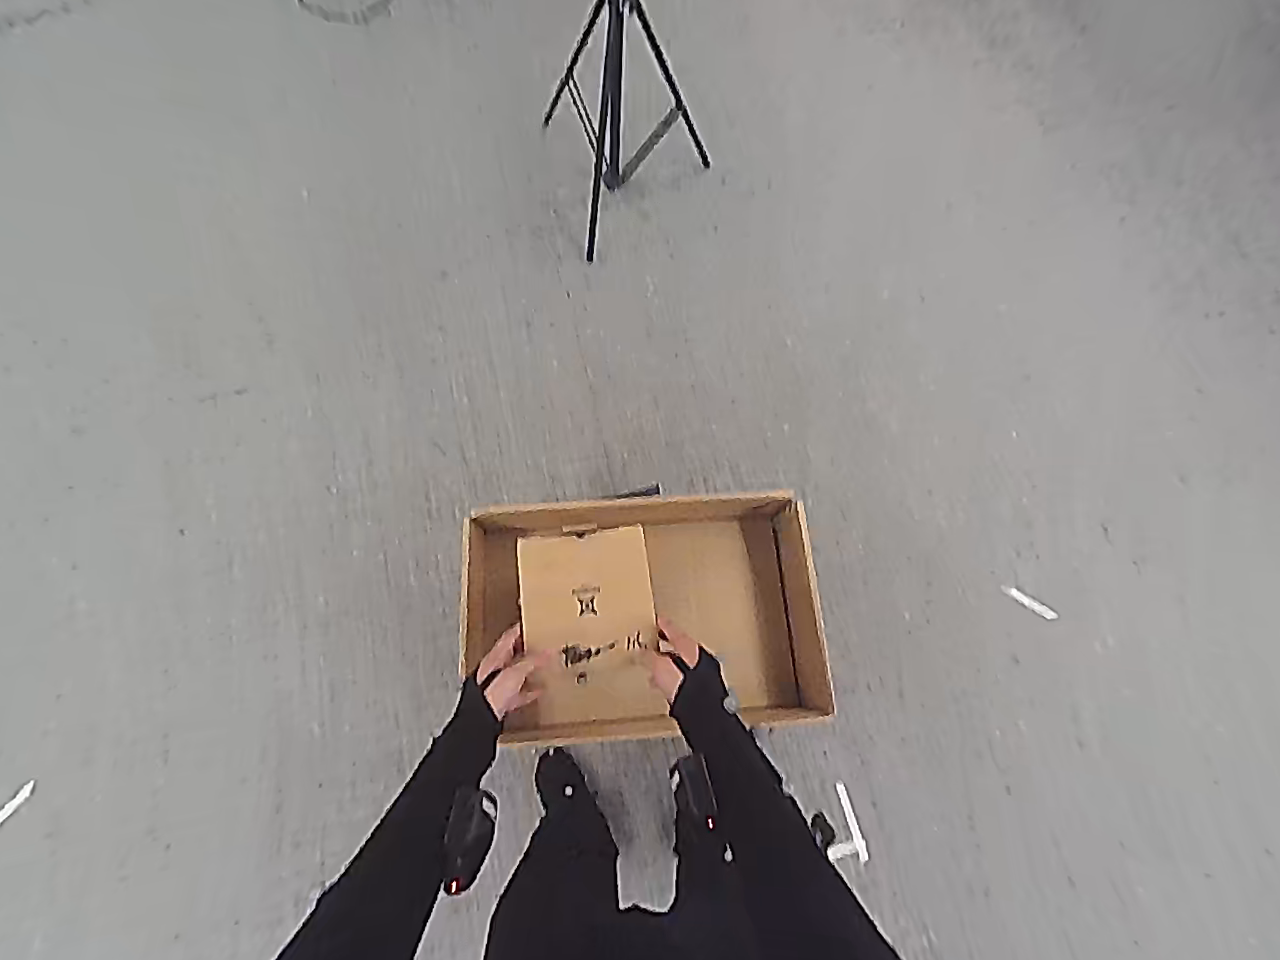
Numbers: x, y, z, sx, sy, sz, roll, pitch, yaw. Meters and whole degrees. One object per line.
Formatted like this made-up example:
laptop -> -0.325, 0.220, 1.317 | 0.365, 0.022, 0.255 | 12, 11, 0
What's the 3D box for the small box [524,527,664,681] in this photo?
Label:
small box -> -0.065, 0.177, 0.747 | 0.168, 0.176, 0.179 | -6, 71, -5
